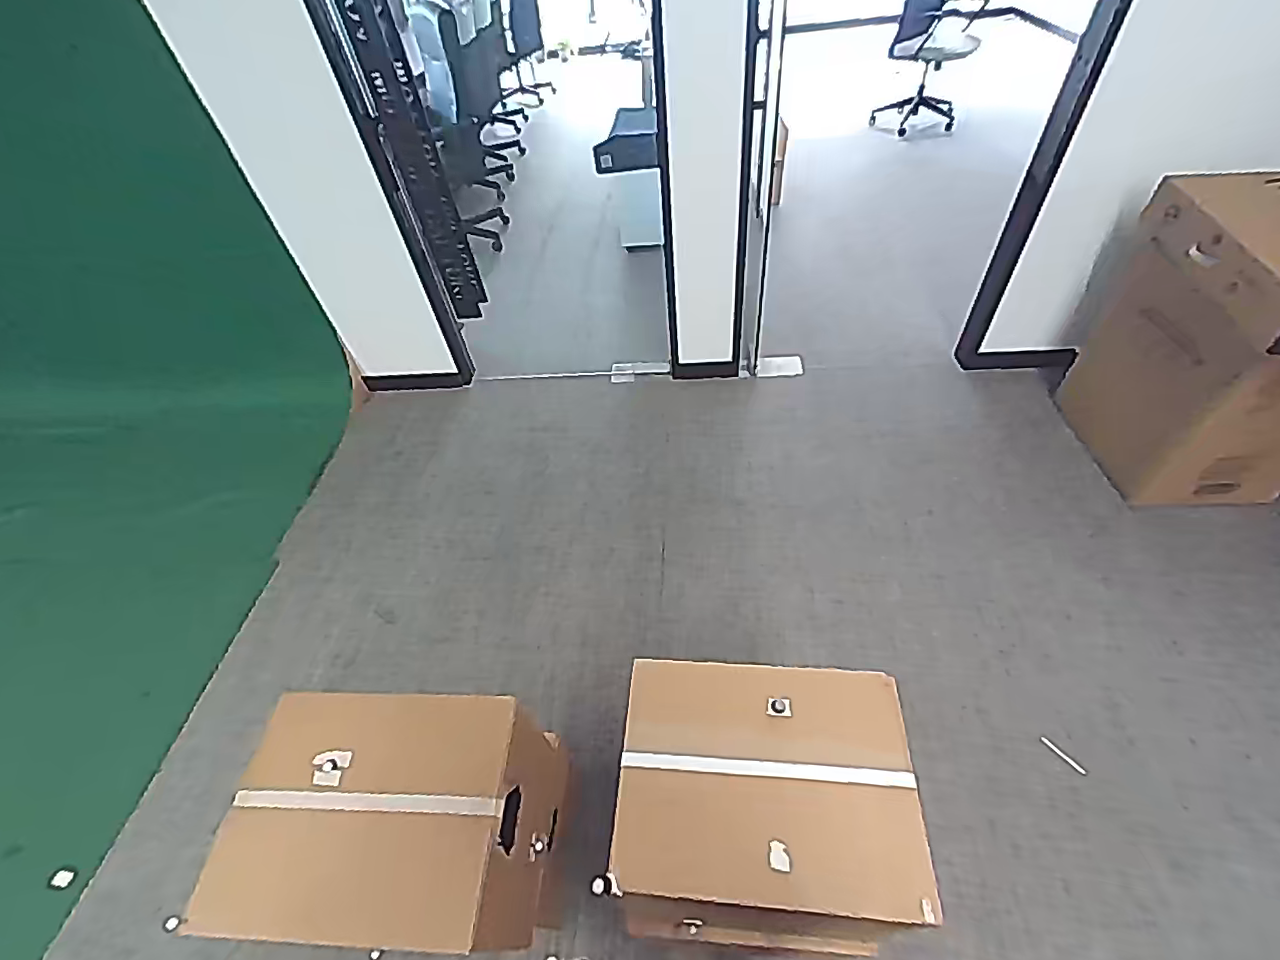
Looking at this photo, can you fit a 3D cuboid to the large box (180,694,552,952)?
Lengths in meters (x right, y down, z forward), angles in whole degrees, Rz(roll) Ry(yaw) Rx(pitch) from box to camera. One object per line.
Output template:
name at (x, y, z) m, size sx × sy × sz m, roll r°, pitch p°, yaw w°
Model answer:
large box at (-0.388, 0.561, 0.898) m, size 0.408 × 0.320 × 0.320 m, roll -2°, pitch 50°, yaw 7°
